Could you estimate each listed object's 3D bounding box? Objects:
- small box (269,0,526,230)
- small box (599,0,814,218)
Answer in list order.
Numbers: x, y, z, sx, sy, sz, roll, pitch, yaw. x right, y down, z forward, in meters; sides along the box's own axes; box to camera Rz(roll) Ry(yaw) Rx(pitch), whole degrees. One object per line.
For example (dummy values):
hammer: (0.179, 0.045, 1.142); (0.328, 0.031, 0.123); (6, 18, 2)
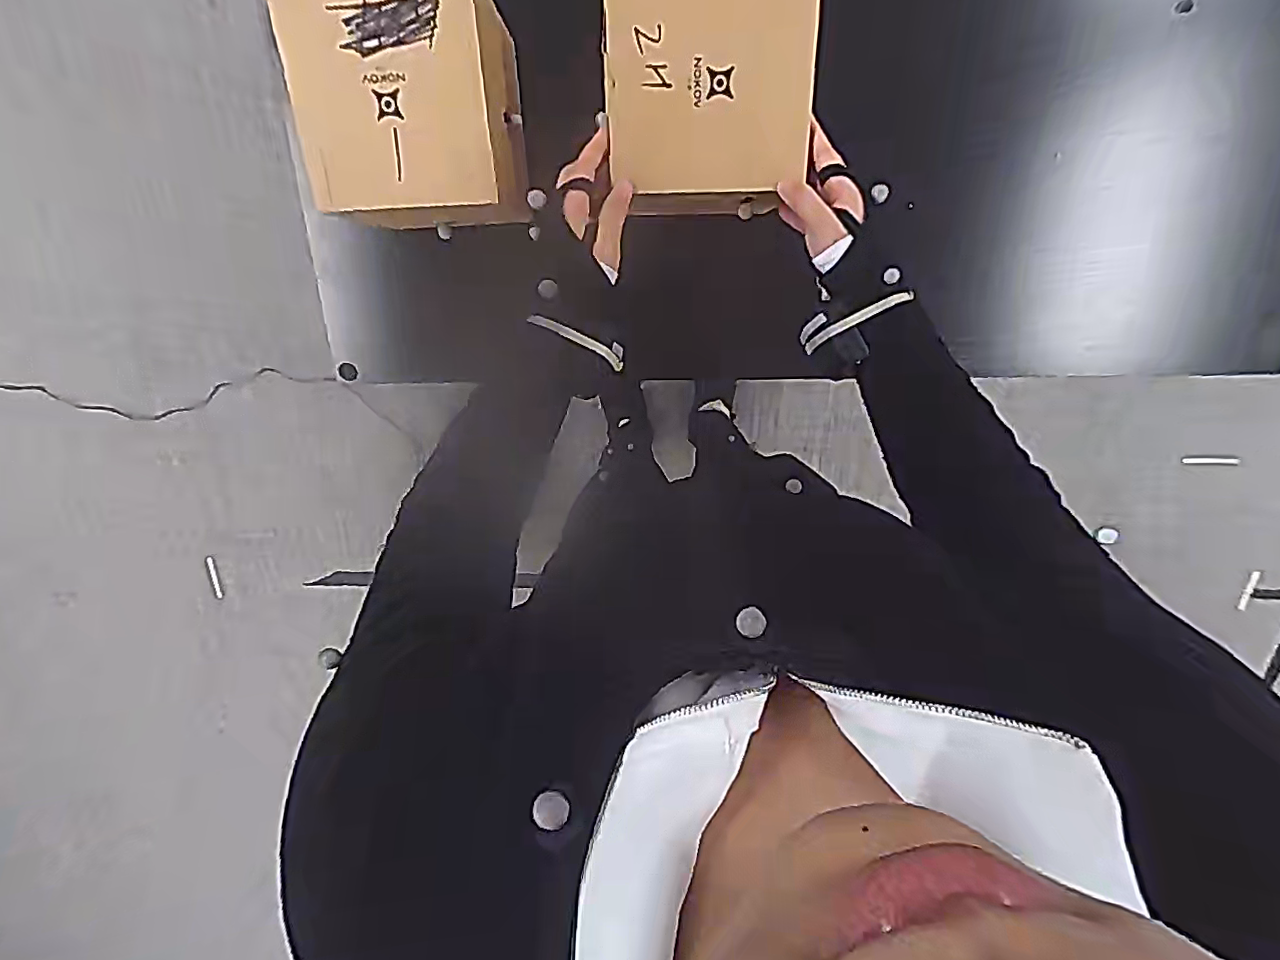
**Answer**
small box: (-0.214, -0.351, 0.531); (0.168, 0.176, 0.179); (-3, 111, 1)
small box: (0.053, -0.358, 0.530); (0.179, 0.176, 0.168); (-1, 110, 0)
